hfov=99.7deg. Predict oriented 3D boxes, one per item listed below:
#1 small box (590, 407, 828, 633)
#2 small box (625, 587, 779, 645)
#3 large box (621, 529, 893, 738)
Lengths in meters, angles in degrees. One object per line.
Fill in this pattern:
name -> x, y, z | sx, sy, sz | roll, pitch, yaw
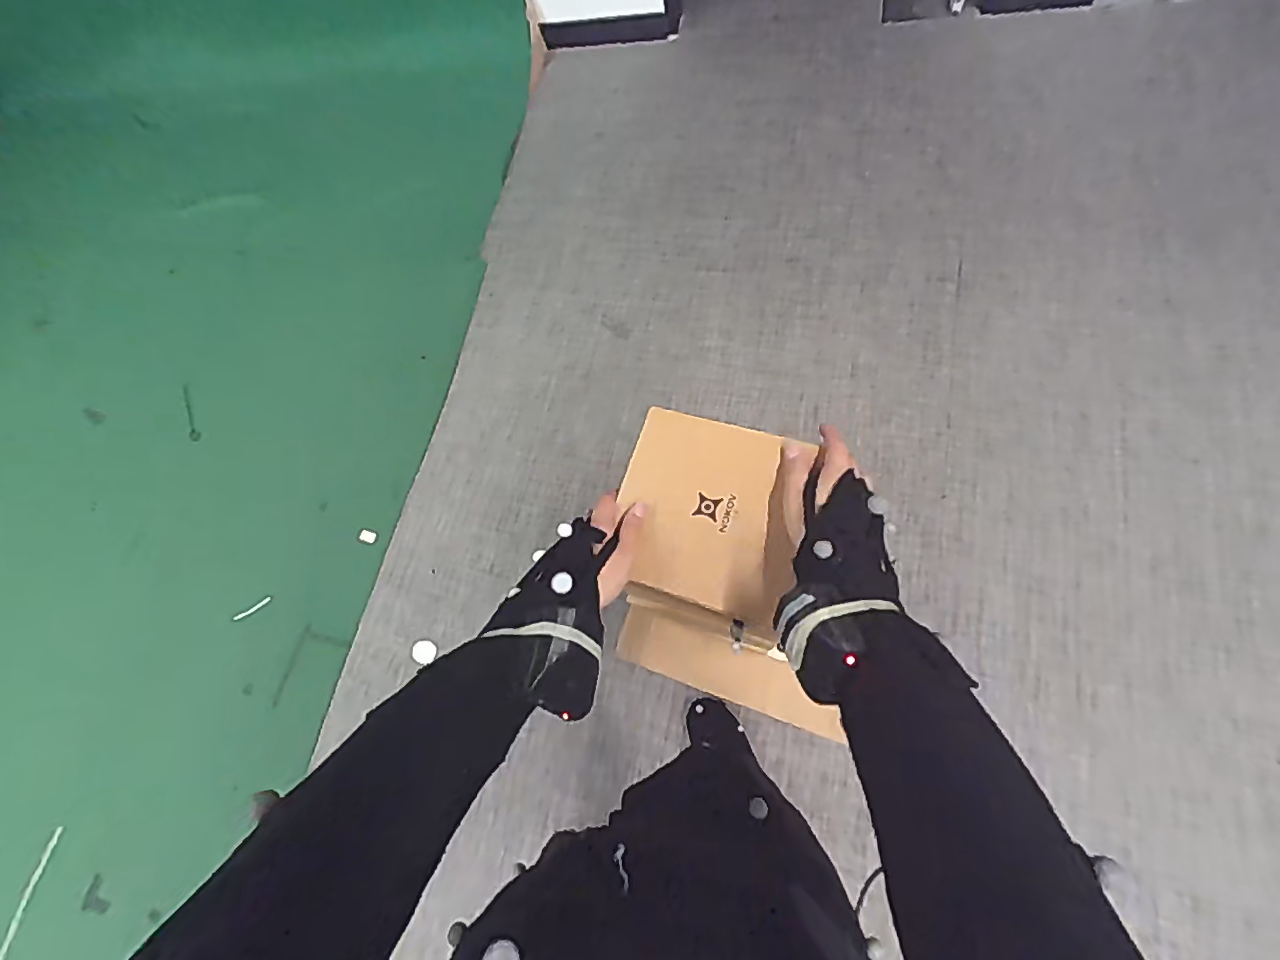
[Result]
small box -> 0.075, 0.050, 0.551 | 0.179, 0.176, 0.168 | 15, 74, 16
small box -> 0.101, 0.110, 0.699 | 0.179, 0.176, 0.168 | 12, 73, 16
large box -> 0.221, 0.260, 1.060 | 0.408, 0.320, 0.320 | 15, 76, 16
